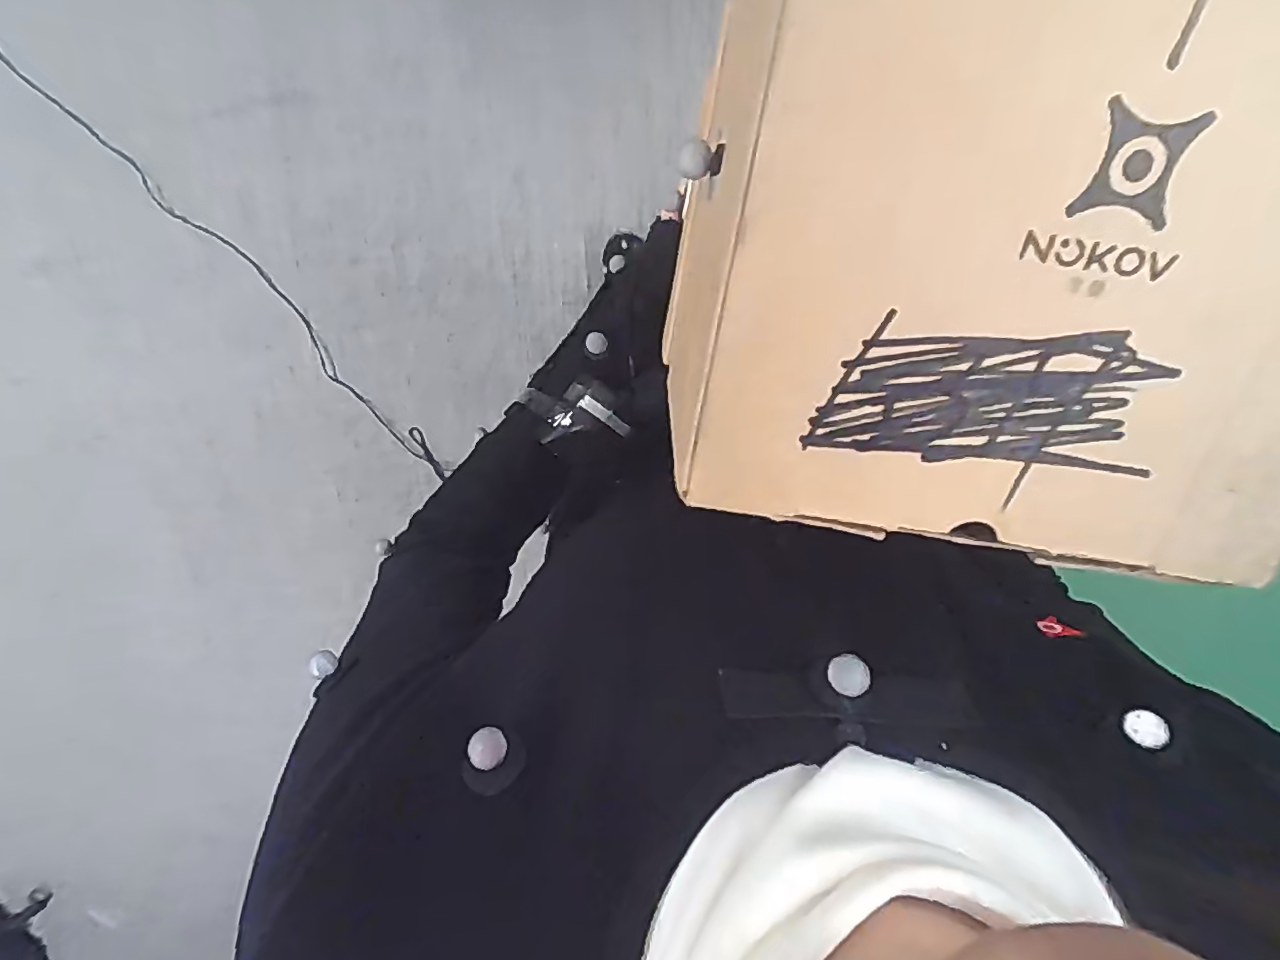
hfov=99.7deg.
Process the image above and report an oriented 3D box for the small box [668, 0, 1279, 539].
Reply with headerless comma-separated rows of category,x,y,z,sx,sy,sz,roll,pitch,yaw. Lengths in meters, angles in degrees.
small box,0.106,-0.103,0.202,0.168,0.176,0.179,9,111,-2
